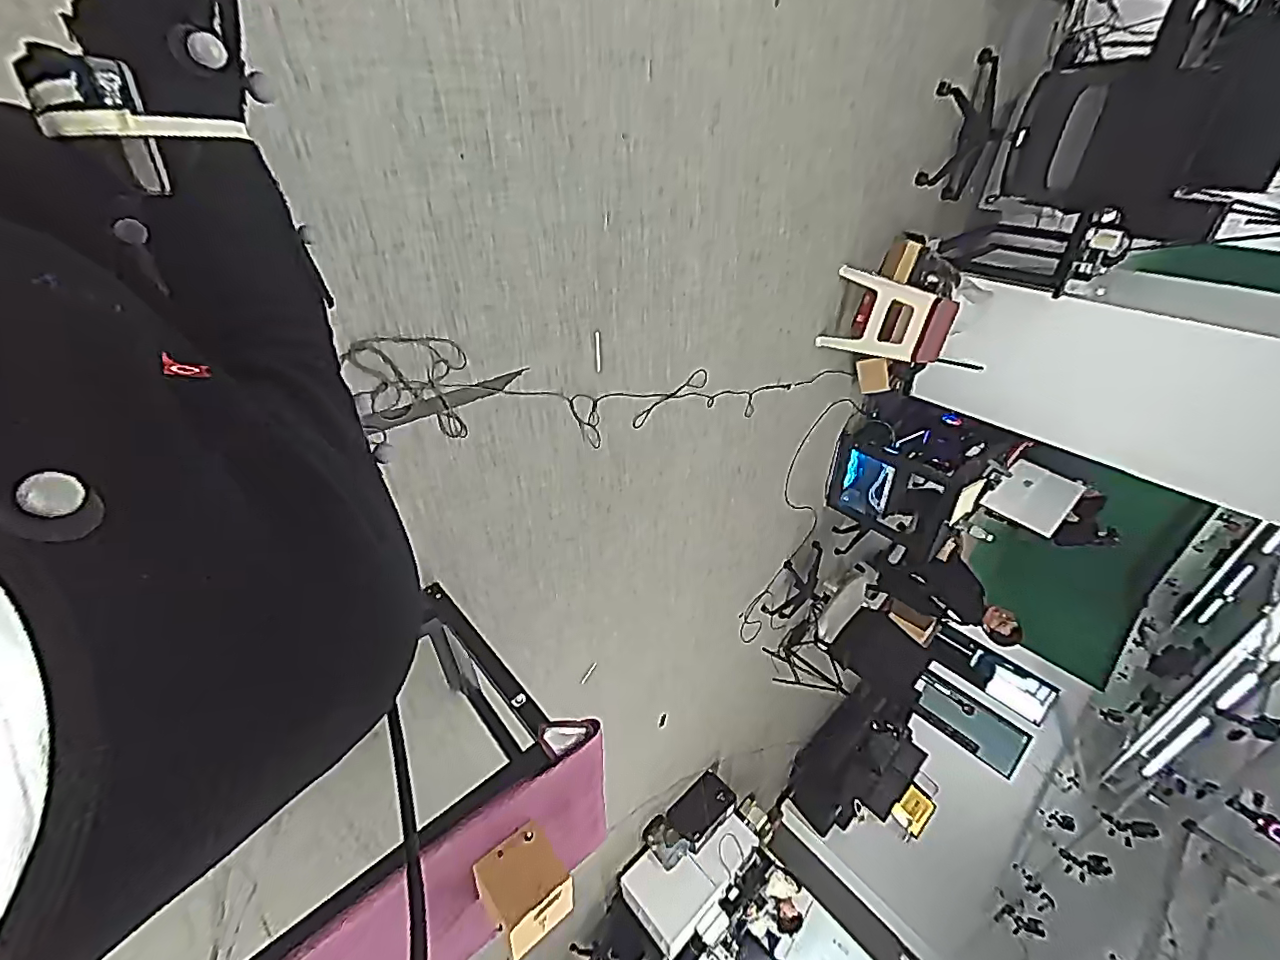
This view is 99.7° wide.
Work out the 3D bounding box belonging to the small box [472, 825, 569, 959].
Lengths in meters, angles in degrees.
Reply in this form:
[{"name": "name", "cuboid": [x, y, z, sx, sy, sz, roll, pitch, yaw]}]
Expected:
[{"name": "small box", "cuboid": [-0.286, 0.968, 1.285, 0.168, 0.176, 0.179, -22, 130, -36]}]
